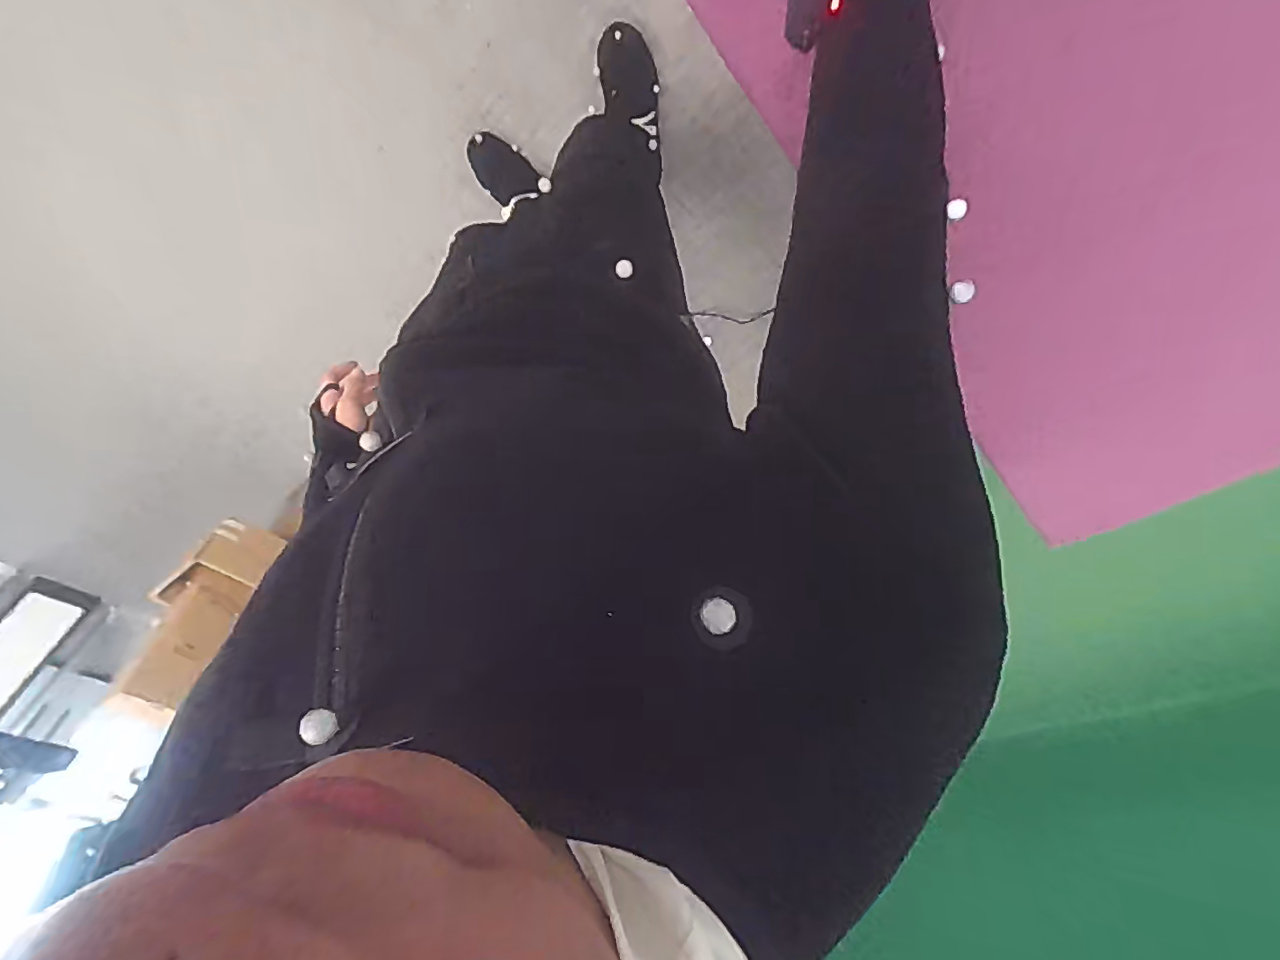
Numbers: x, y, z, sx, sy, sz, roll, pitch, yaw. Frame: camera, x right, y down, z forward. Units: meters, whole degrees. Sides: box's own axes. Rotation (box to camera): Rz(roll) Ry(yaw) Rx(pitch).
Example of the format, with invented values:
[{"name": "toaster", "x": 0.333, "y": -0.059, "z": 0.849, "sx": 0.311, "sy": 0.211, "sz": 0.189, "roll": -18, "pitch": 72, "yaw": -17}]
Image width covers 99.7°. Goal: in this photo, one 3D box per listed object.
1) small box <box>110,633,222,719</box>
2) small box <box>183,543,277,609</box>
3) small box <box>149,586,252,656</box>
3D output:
[{"name": "small box", "x": -1.388, "y": 0.576, "z": 1.593, "sx": 0.179, "sy": 0.176, "sz": 0.168, "roll": -28, "pitch": 127, "yaw": 29}, {"name": "small box", "x": -1.373, "y": 0.341, "z": 1.823, "sx": 0.179, "sy": 0.176, "sz": 0.168, "roll": -28, "pitch": 127, "yaw": 27}, {"name": "small box", "x": -1.375, "y": 0.457, "z": 1.705, "sx": 0.179, "sy": 0.176, "sz": 0.168, "roll": -26, "pitch": 128, "yaw": 27}]
